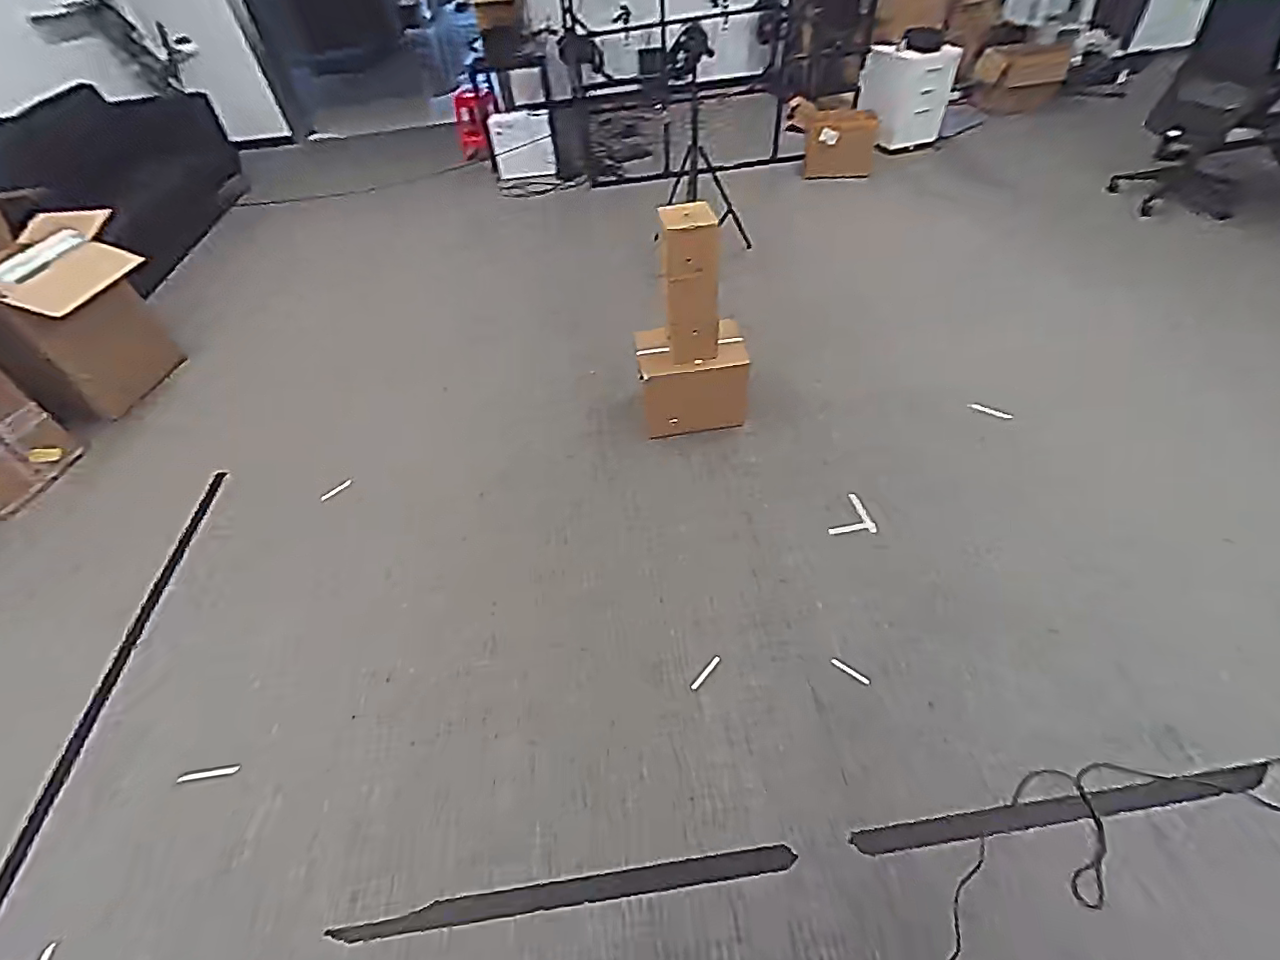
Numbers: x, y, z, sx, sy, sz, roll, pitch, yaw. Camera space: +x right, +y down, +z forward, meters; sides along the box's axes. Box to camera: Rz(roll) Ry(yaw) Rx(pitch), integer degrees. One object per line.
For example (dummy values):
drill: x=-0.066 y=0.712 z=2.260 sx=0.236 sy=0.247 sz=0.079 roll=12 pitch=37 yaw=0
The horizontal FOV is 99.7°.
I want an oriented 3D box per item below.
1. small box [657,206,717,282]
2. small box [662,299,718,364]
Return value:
small box: x=0.150 y=-0.772 z=1.773 sx=0.168 sy=0.176 sz=0.179 roll=-9 pitch=49 yaw=-3
small box: x=0.184 y=-0.547 z=2.008 sx=0.179 sy=0.176 sz=0.168 roll=-9 pitch=49 yaw=-4
